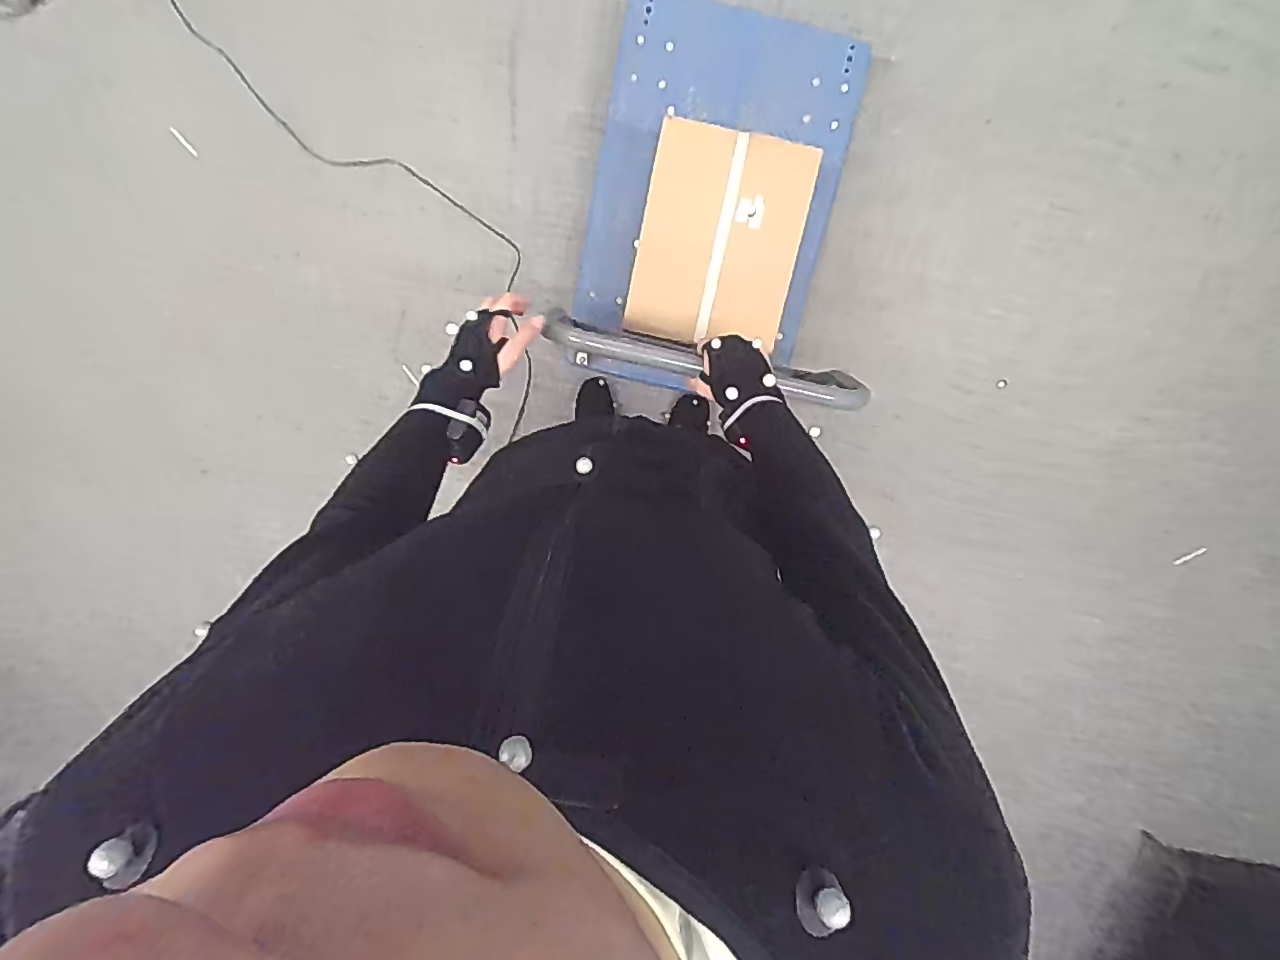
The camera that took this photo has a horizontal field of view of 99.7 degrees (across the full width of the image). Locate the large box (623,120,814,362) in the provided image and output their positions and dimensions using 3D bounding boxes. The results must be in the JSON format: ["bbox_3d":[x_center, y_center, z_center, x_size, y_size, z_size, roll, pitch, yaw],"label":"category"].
[{"bbox_3d":[0.155,-0.498,1.222,0.320,0.320,0.408,12,101,-2],"label":"large box"}]
